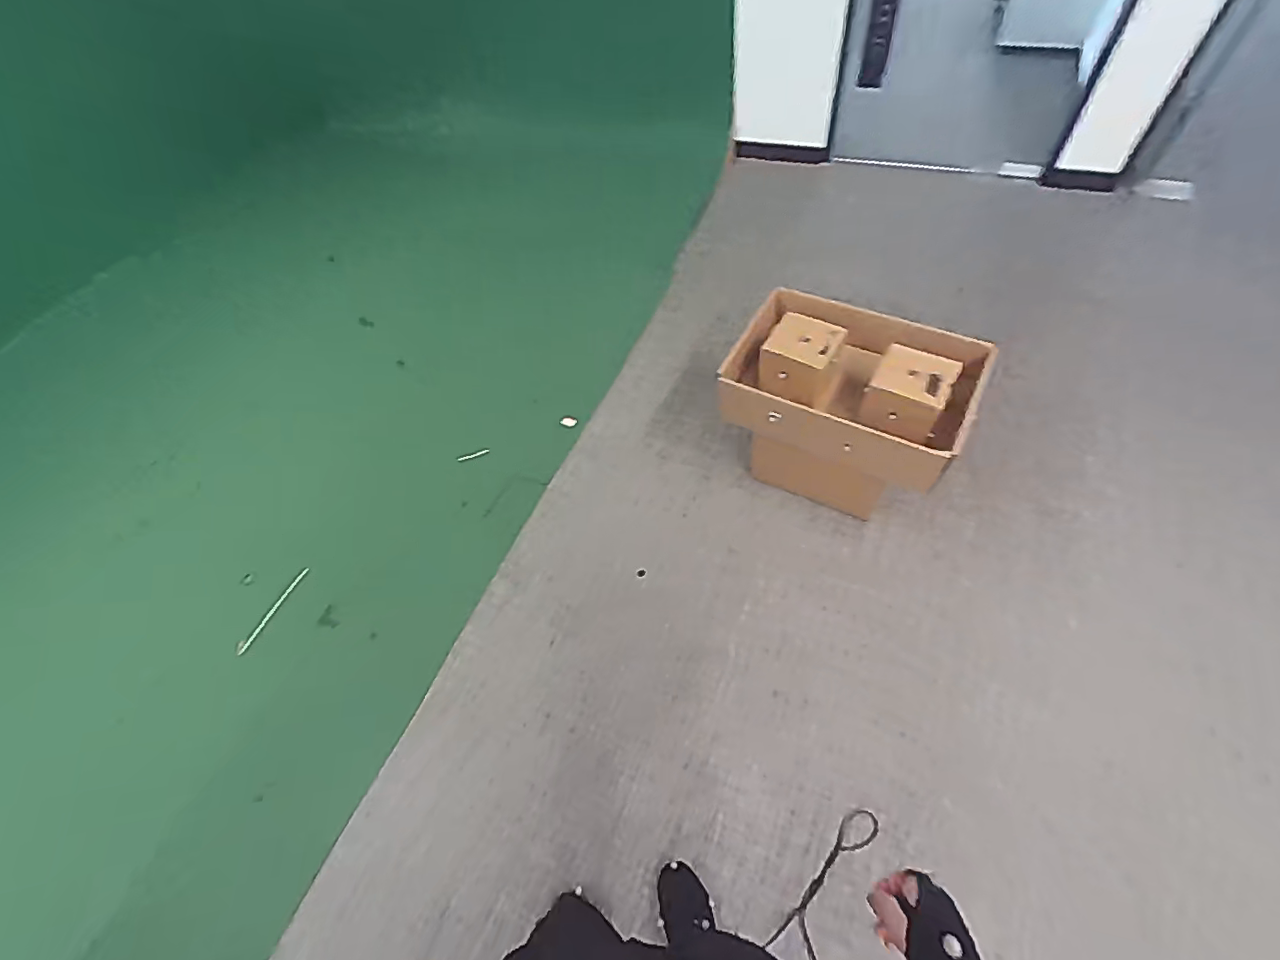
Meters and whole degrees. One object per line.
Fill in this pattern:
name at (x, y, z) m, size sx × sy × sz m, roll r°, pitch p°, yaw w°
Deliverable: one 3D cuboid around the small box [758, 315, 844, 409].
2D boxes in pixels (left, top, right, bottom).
small box at (0.445, -0.328, 1.521) m, size 0.179 × 0.176 × 0.168 m, roll 26°, pitch 65°, yaw 24°
